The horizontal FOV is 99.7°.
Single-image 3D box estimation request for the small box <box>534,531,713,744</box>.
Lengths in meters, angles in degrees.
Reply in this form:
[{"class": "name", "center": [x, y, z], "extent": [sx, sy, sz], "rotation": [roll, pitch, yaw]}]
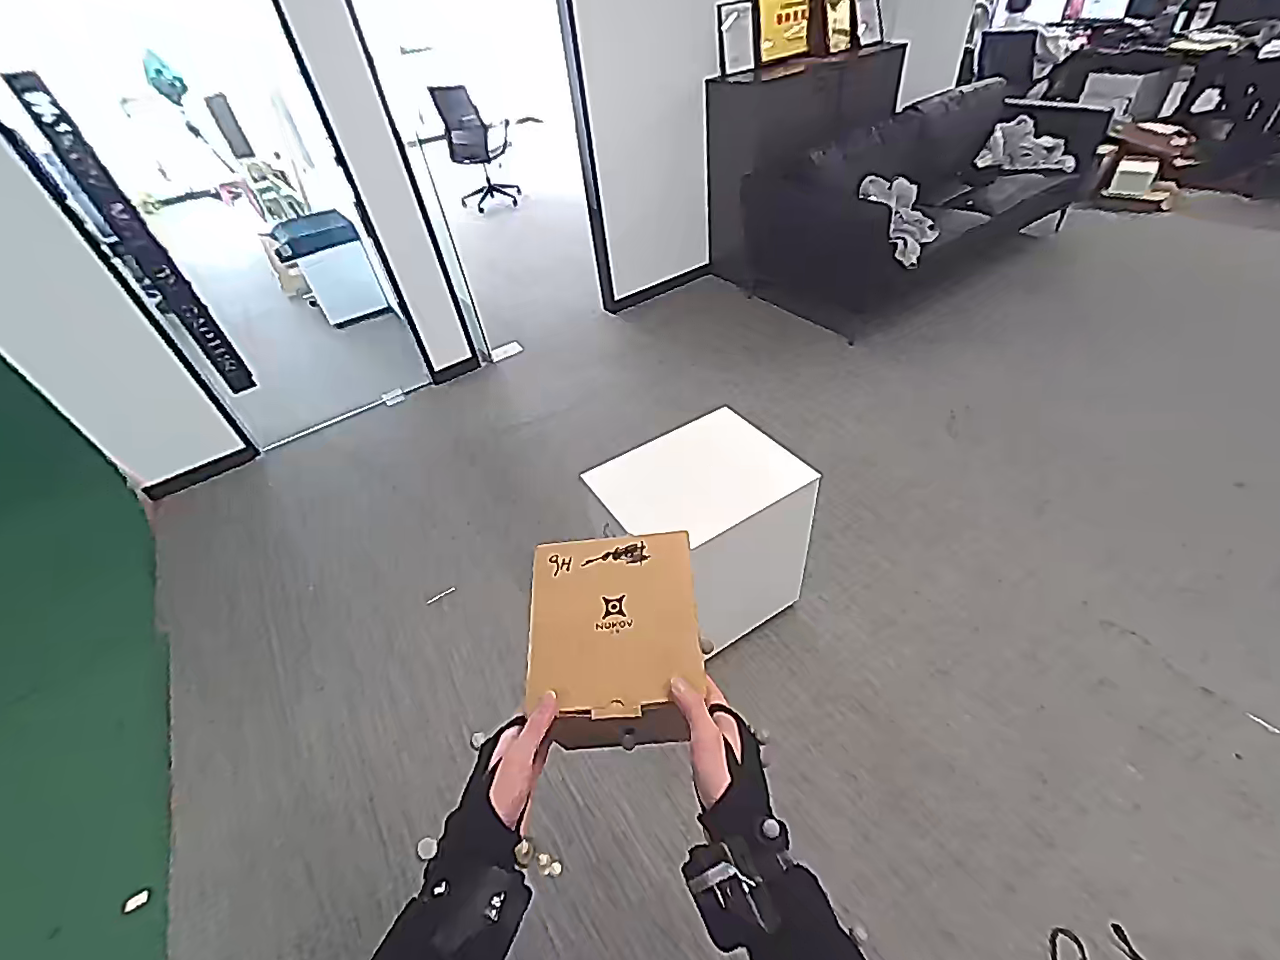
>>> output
[{"class": "small box", "center": [-0.013, 0.181, 0.596], "extent": [0.168, 0.176, 0.179], "rotation": [-8, 53, 2]}]
